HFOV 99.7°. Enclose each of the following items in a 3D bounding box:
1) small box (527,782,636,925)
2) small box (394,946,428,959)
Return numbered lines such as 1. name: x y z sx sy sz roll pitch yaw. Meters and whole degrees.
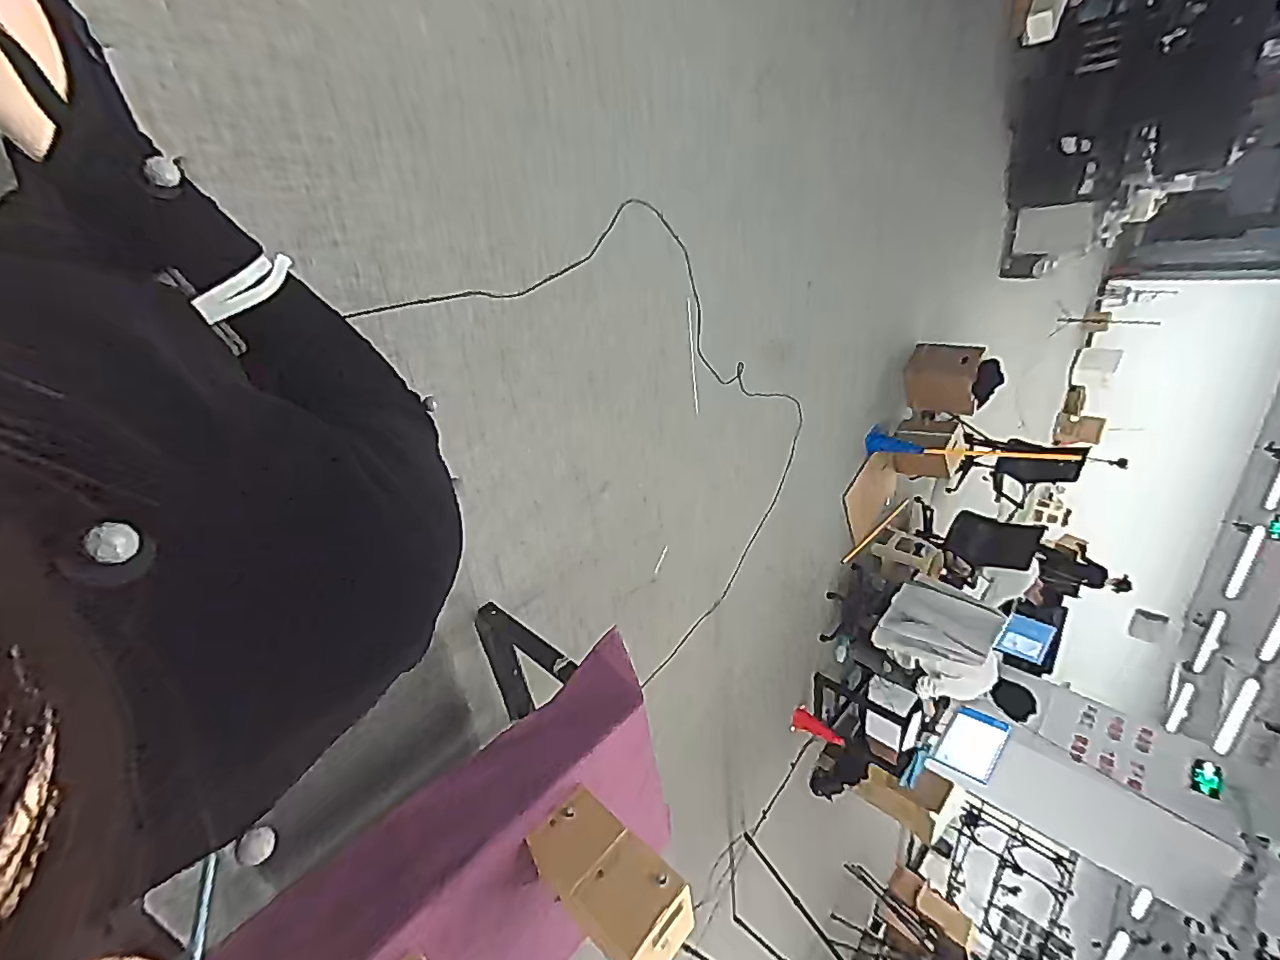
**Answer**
1. small box: -0.133 0.839 1.231 0.168 0.176 0.179 -30 124 -37
2. small box: -0.426 1.019 0.989 0.168 0.176 0.179 -32 126 -37
